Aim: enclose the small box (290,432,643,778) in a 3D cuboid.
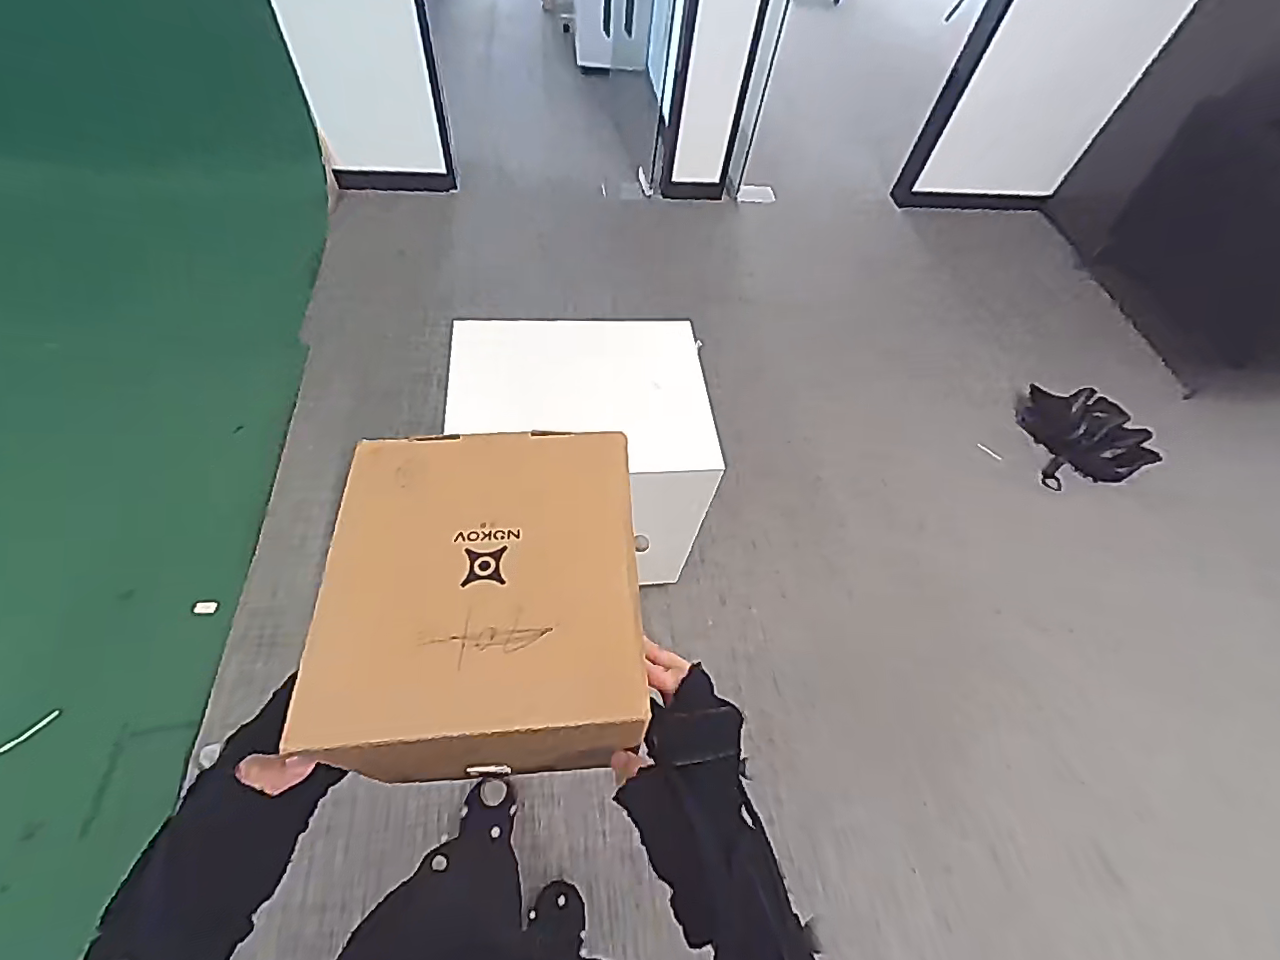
[{"bbox_3d":[-0.090,0.088,0.365,0.168,0.176,0.179,-3,57,-5],"label":"small box"}]
